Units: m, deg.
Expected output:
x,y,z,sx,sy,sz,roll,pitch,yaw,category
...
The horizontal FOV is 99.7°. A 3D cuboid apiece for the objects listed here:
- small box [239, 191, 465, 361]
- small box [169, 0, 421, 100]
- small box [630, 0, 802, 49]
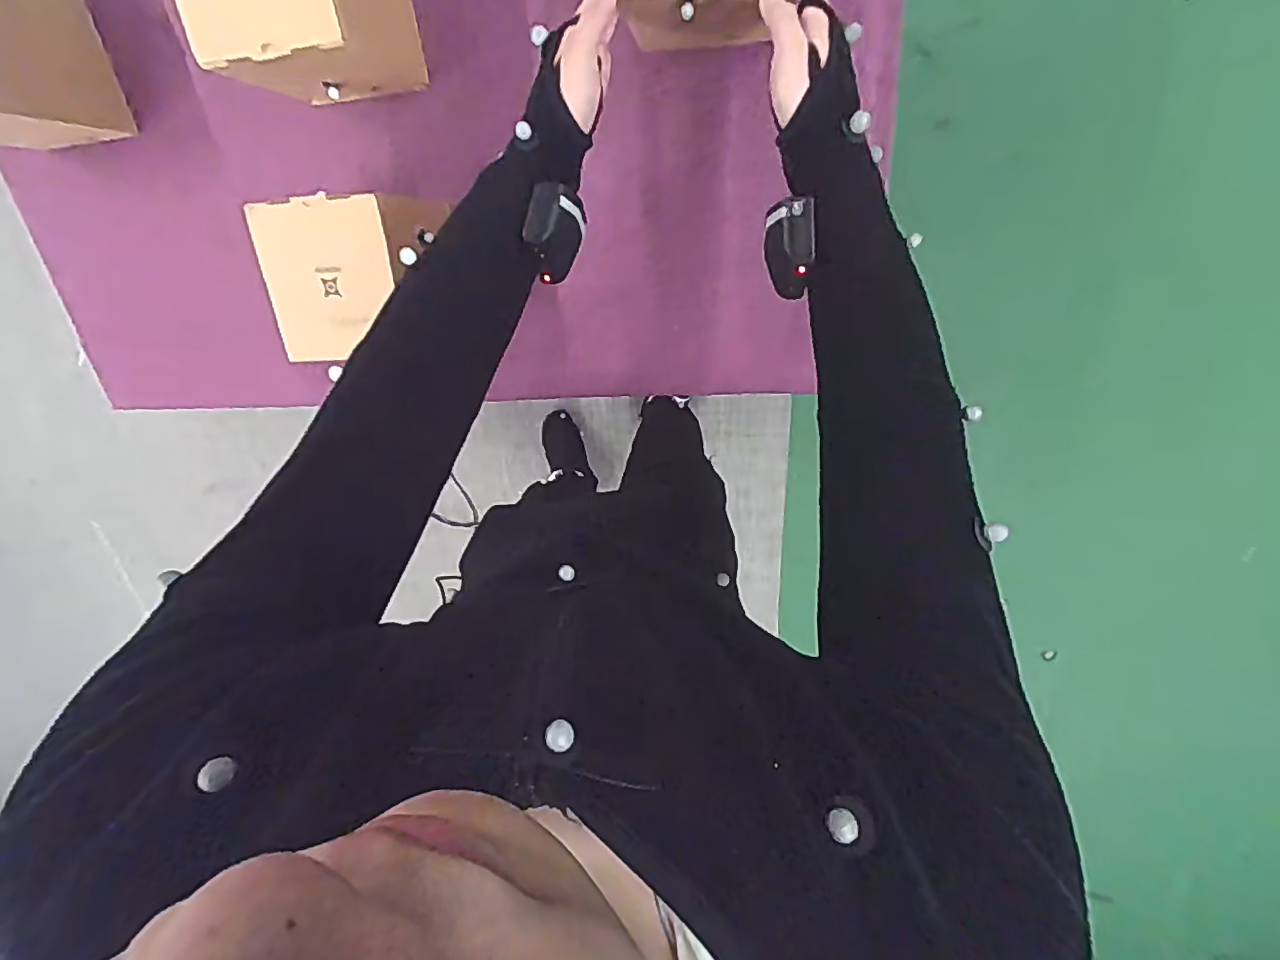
x,y,z,sx,sy,sz,roll,pitch,yaw,category
-0.340,-0.251,0.677,0.168,0.176,0.179,1,113,8,small box
-0.356,-0.523,0.558,0.168,0.176,0.179,-2,115,8,small box
0.070,-0.529,0.493,0.168,0.176,0.179,2,116,9,small box
